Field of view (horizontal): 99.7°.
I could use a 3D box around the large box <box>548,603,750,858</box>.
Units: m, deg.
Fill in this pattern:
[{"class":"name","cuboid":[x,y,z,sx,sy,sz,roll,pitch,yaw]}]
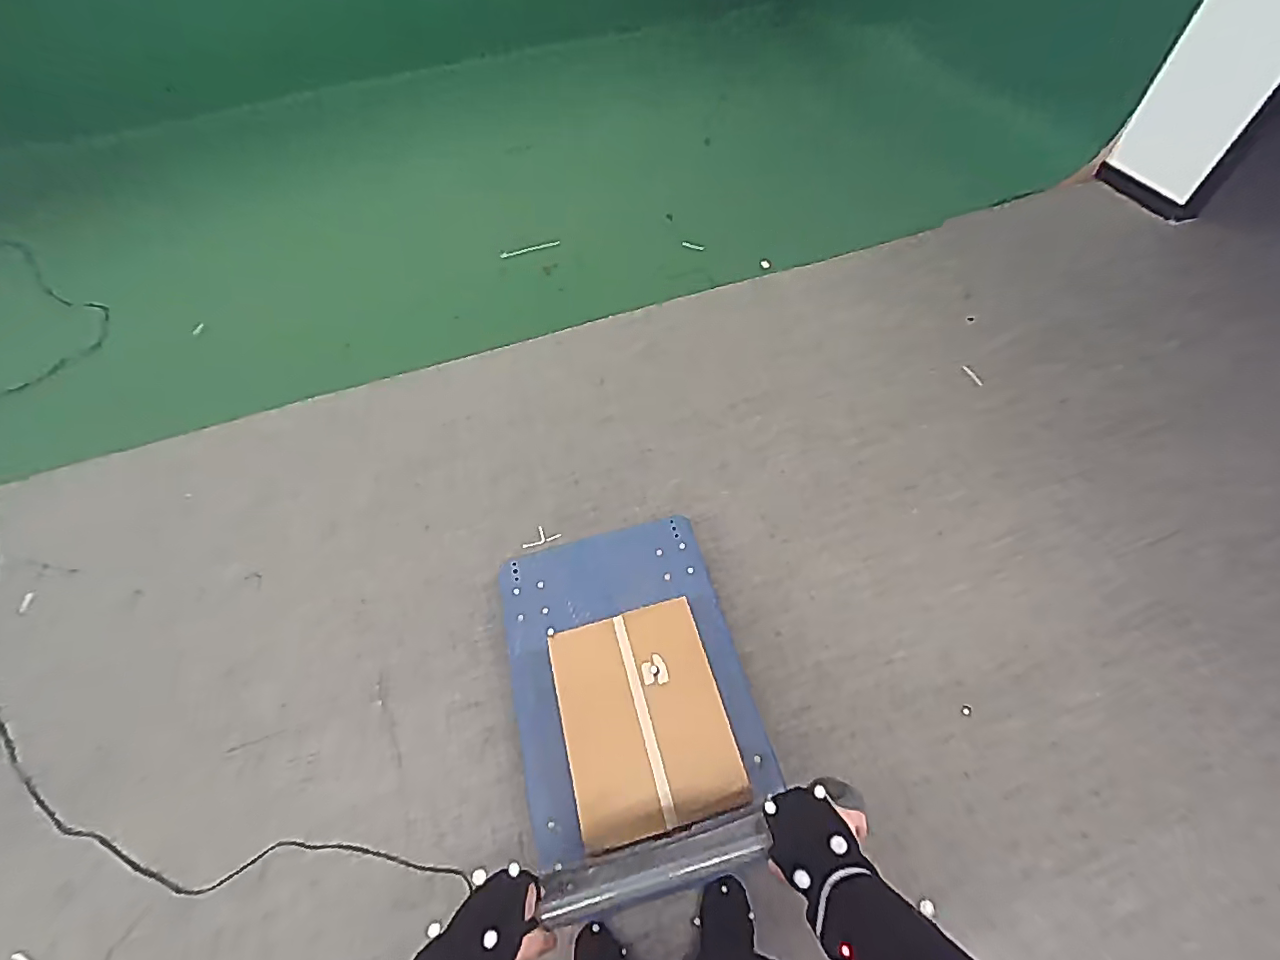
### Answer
[{"class":"large box","cuboid":[0.013,0.549,1.189,0.320,0.320,0.408,-15,55,-6]}]
